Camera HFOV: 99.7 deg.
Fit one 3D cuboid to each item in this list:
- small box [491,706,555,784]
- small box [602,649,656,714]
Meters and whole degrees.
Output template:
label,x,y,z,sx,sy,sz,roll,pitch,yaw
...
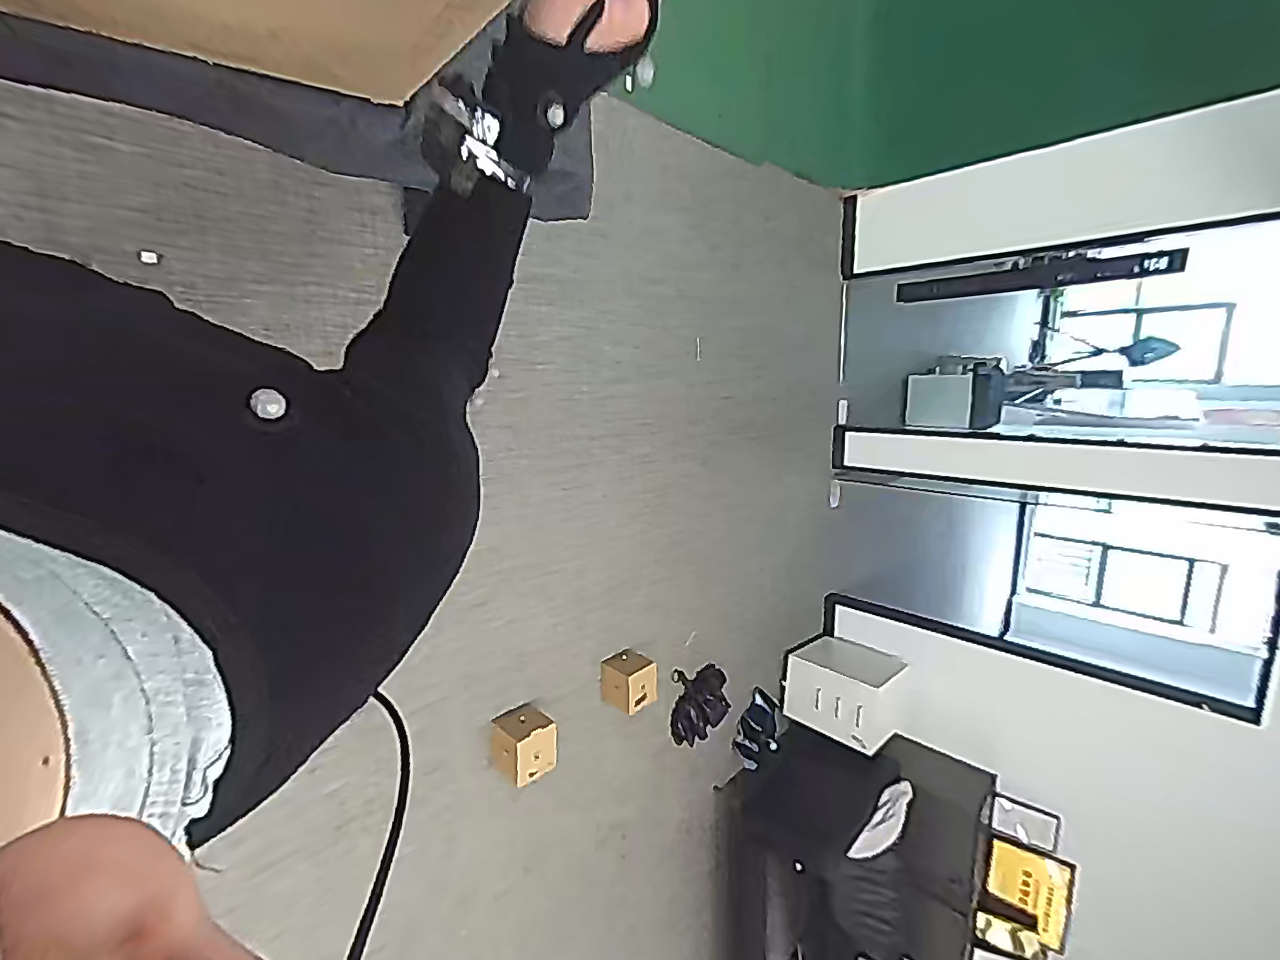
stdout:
label,x,y,z,sx,sy,sz,roll,pitch,yaw
small box,-0.418,0.930,1.923,0.168,0.176,0.179,-8,102,-45
small box,-0.048,0.843,2.283,0.168,0.176,0.179,-12,104,-44
